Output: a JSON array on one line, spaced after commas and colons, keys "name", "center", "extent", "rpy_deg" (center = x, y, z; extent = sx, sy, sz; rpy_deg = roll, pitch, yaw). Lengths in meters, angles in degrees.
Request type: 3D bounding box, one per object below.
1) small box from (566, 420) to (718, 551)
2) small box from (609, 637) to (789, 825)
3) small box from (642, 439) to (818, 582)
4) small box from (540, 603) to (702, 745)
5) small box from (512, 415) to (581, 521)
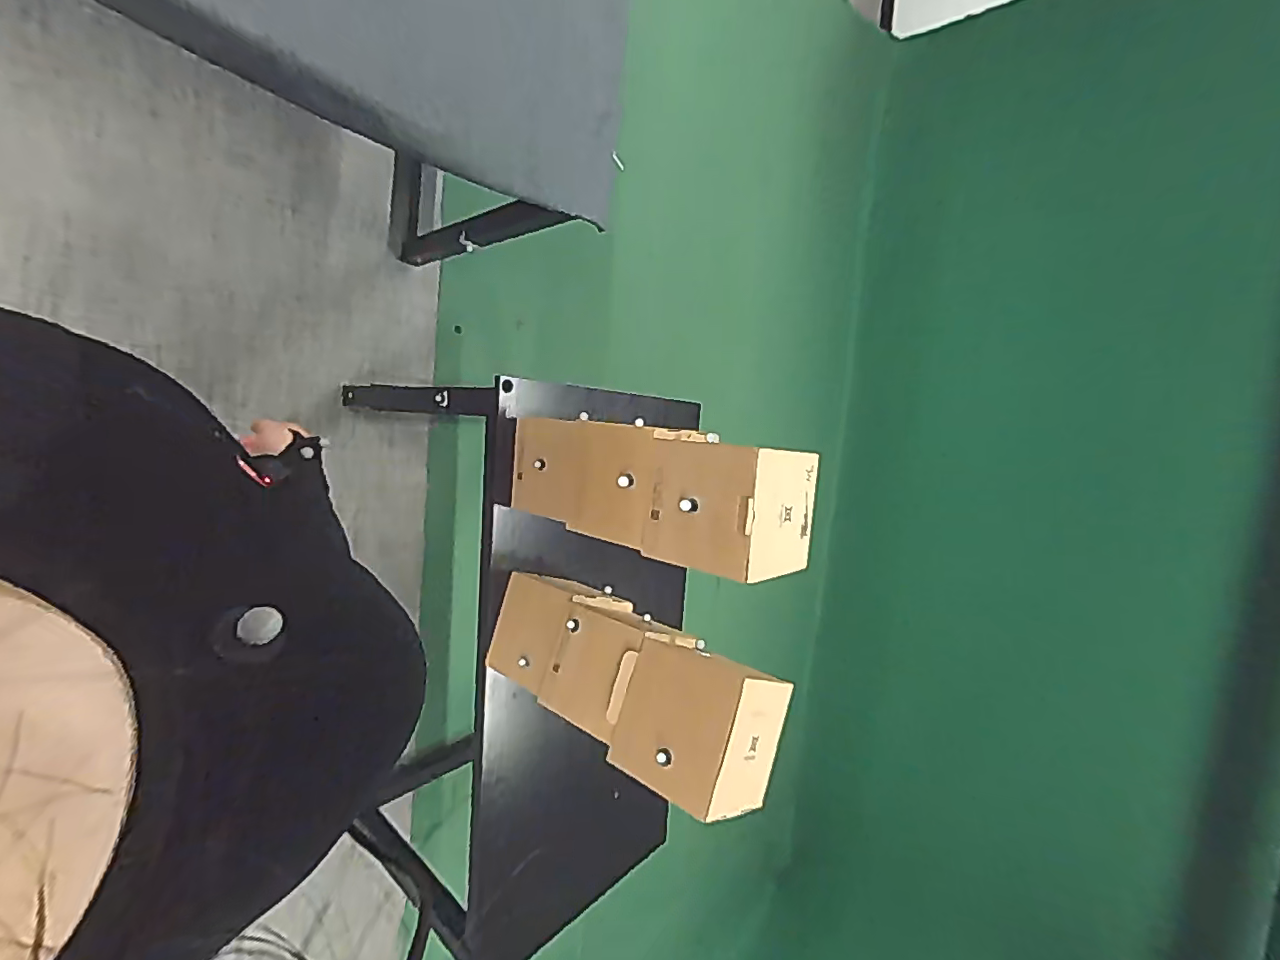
[{"name": "small box", "center": [0.000, 0.003, 0.851], "extent": [0.168, 0.176, 0.179], "rpy_deg": [-1, 98, -48]}, {"name": "small box", "center": [0.080, 0.340, 0.757], "extent": [0.168, 0.176, 0.179], "rpy_deg": [30, 75, -49]}, {"name": "small box", "center": [0.122, 0.034, 0.744], "extent": [0.179, 0.176, 0.168], "rpy_deg": [1, 96, -48]}, {"name": "small box", "center": [-0.032, 0.306, 0.871], "extent": [0.179, 0.176, 0.168], "rpy_deg": [27, 78, -49]}, {"name": "small box", "center": [-0.109, -0.025, 0.968], "extent": [0.179, 0.176, 0.168], "rpy_deg": [-1, 99, -49]}]
